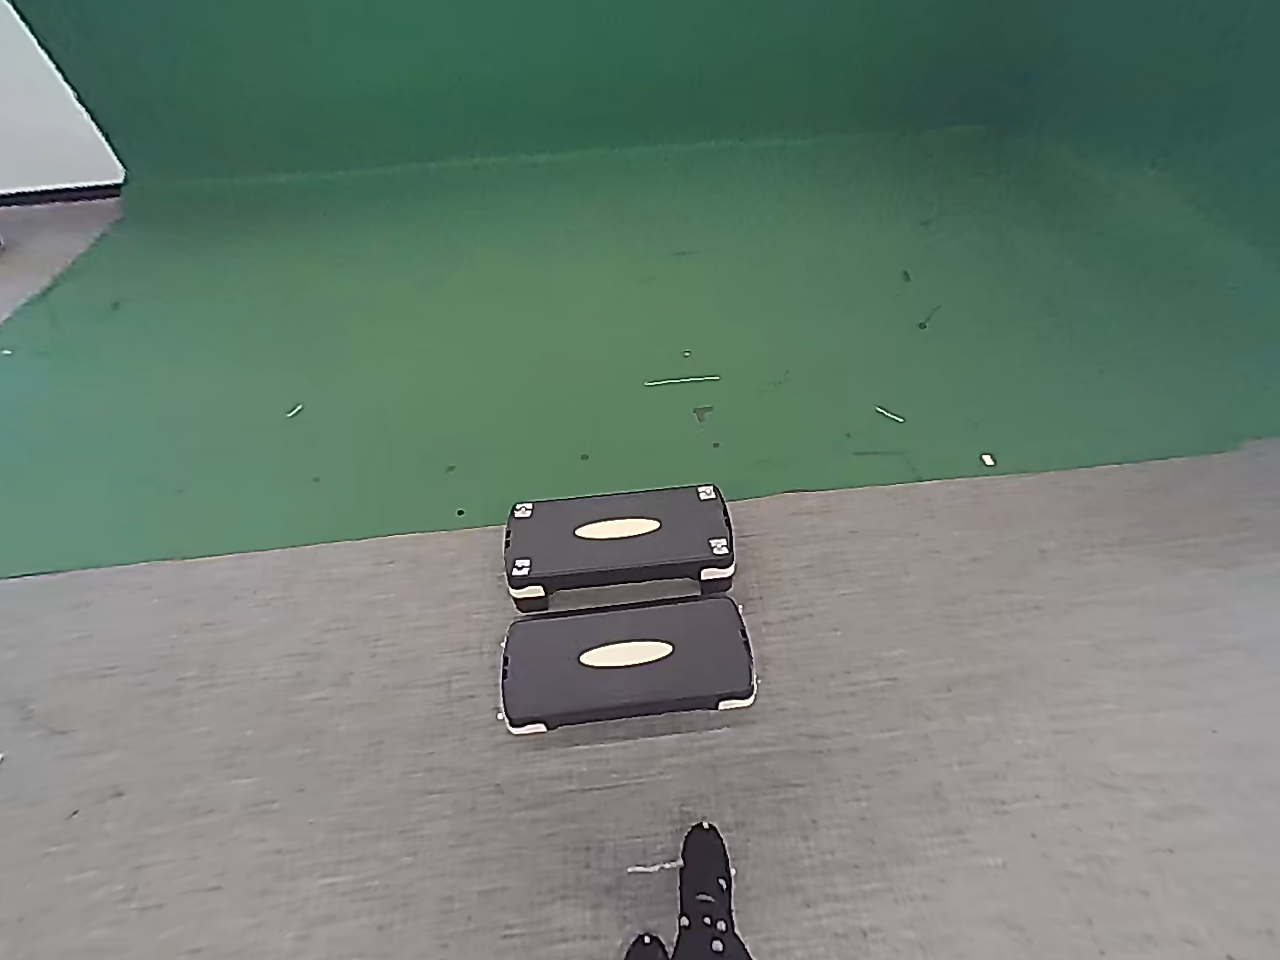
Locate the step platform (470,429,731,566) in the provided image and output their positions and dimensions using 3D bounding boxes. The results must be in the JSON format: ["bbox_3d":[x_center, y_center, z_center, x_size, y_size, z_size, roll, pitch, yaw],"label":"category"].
[{"bbox_3d":[-0.103,0.048,1.504,0.684,0.204,0.286,-6,51,-2],"label":"step platform"}]
